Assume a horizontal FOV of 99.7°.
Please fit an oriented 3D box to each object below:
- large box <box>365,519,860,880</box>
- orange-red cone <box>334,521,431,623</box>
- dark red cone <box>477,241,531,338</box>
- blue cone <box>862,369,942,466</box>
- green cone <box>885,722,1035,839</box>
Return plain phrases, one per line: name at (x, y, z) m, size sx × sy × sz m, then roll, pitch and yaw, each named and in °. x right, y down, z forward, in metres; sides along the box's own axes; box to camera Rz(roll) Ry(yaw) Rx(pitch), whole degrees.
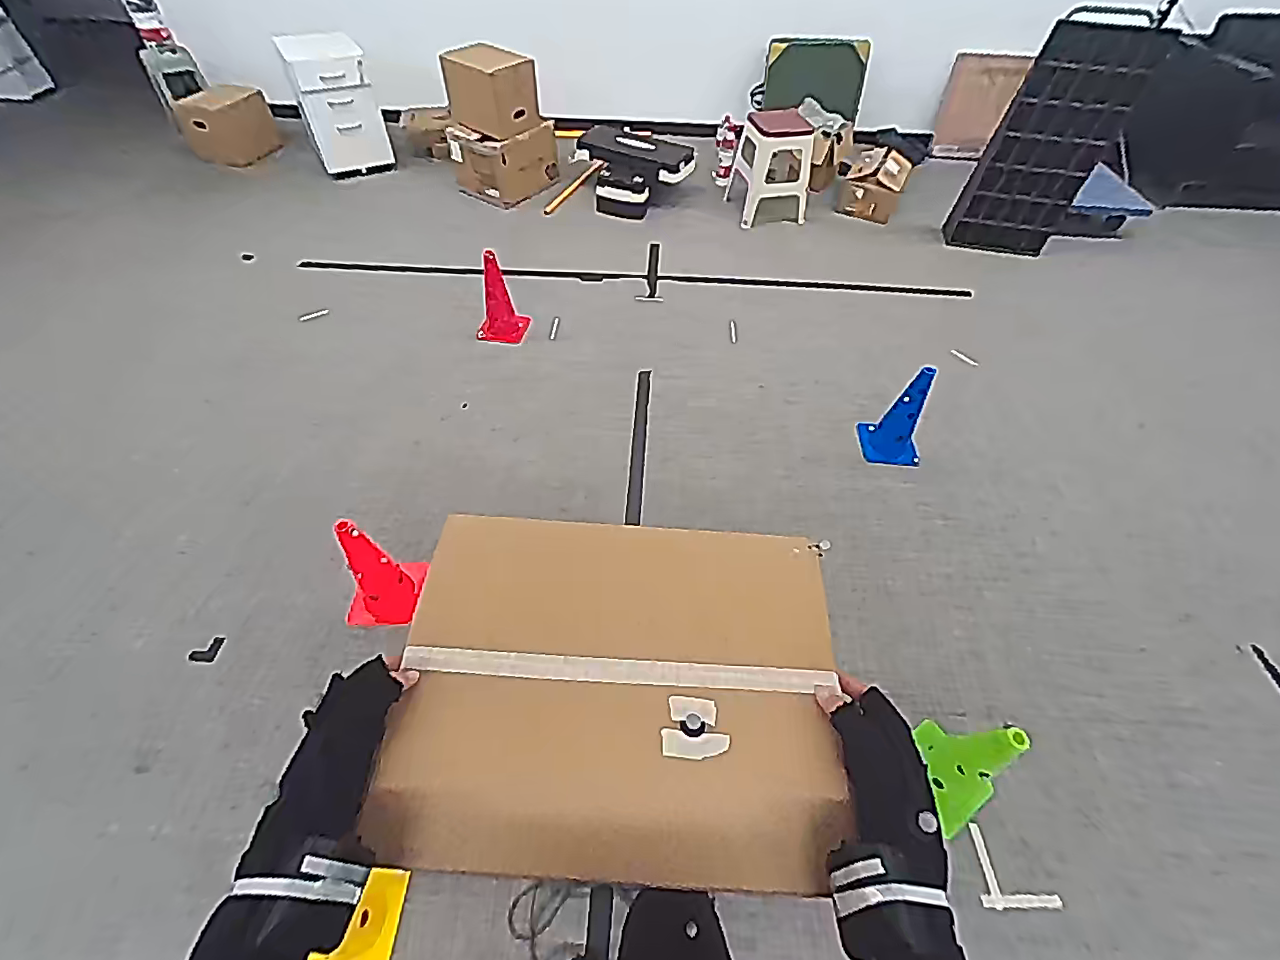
large box at (-0.022, 0.266, 0.633) m, size 0.408 × 0.320 × 0.320 m, roll 4°, pitch 55°, yaw 0°
orange-red cone at (-0.725, 0.223, 1.452) m, size 0.198 × 0.360 × 0.199 m, roll 1°, pitch 52°, yaw 0°
dark red cone at (-0.589, -0.796, 2.248) m, size 0.201 × 0.394 × 0.202 m, roll 8°, pitch 51°, yaw 3°
blue cone at (0.946, -0.234, 1.901) m, size 0.192 × 0.380 × 0.193 m, roll 6°, pitch 51°, yaw 2°
green cone at (0.737, 0.617, 1.184) m, size 0.202 × 0.368 × 0.200 m, roll -27°, pitch 57°, yaw -23°
